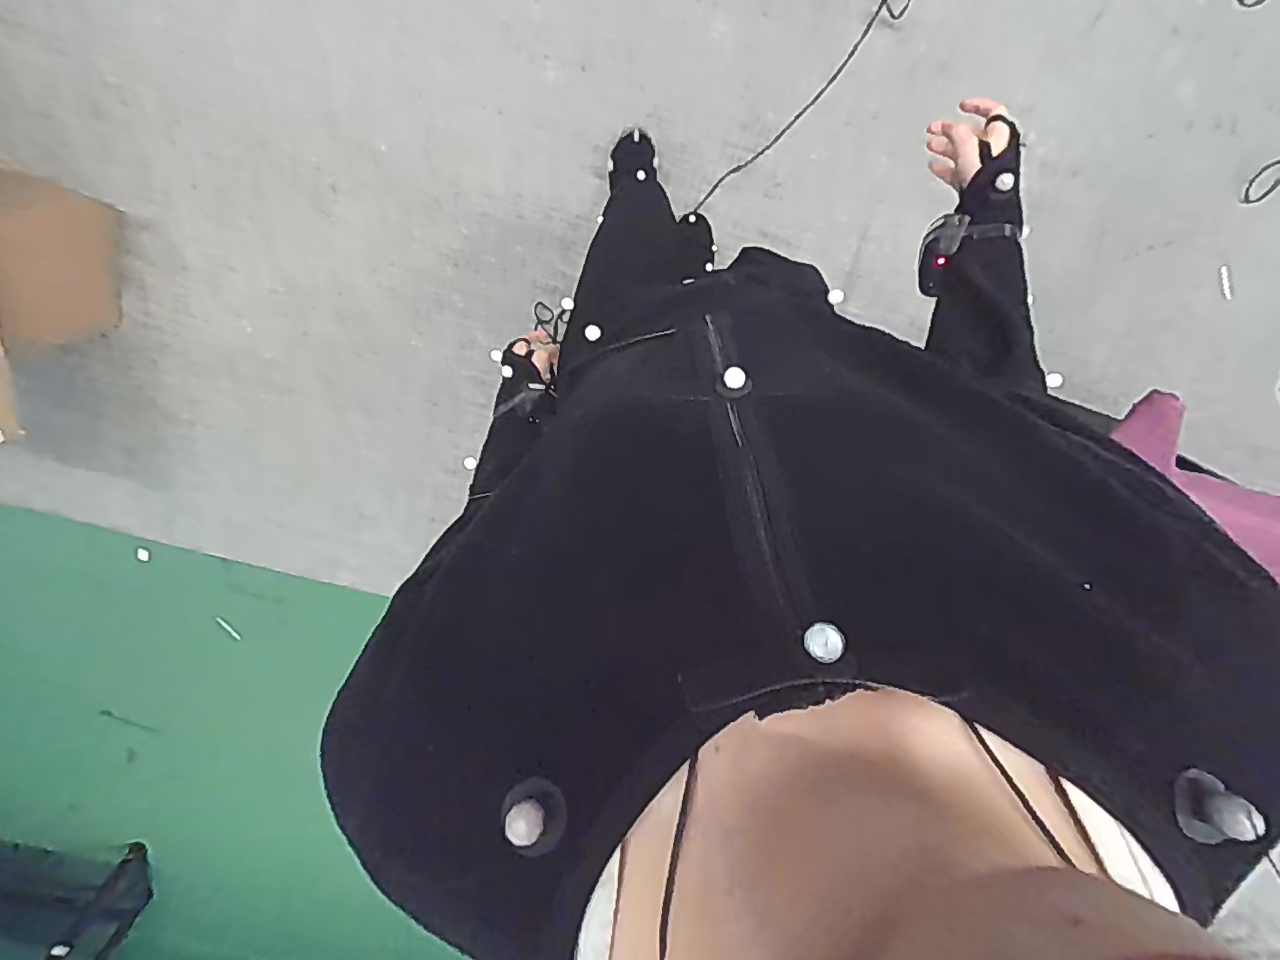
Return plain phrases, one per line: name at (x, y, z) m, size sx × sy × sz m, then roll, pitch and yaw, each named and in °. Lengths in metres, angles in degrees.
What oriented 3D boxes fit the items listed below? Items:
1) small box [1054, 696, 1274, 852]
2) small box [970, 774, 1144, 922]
small box at (0.893, 0.506, 0.944) m, size 0.179 × 0.176 × 0.168 m, roll 14°, pitch 118°, yaw -5°
small box at (0.800, 0.717, 1.064) m, size 0.168 × 0.176 × 0.179 m, roll 21°, pitch 117°, yaw -8°
